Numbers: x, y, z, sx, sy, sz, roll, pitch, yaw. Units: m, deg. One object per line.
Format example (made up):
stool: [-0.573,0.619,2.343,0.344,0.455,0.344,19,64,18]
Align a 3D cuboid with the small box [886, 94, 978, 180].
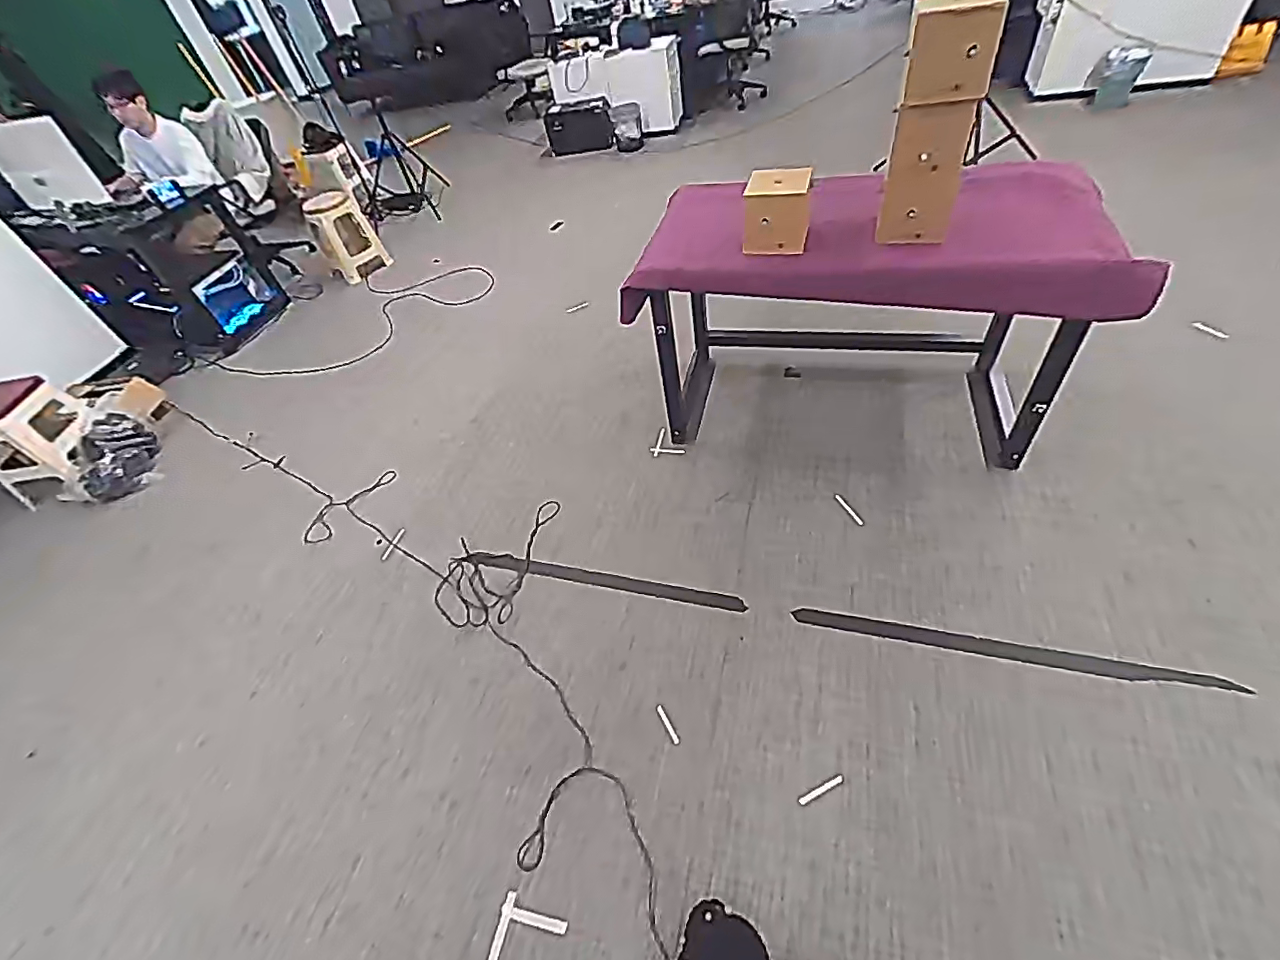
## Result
small box: [0.711,-0.861,1.332,0.168,0.176,0.179,8,51,19]

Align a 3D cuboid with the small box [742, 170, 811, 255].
small box: [0.385,-0.749,1.525,0.168,0.176,0.179,7,49,17]

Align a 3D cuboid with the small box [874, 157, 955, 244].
small box: [0.733,-0.750,1.451,0.168,0.176,0.179,9,50,18]

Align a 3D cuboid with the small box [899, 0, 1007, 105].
small box: [0.682,-0.952,1.199,0.168,0.176,0.179,6,50,16]
